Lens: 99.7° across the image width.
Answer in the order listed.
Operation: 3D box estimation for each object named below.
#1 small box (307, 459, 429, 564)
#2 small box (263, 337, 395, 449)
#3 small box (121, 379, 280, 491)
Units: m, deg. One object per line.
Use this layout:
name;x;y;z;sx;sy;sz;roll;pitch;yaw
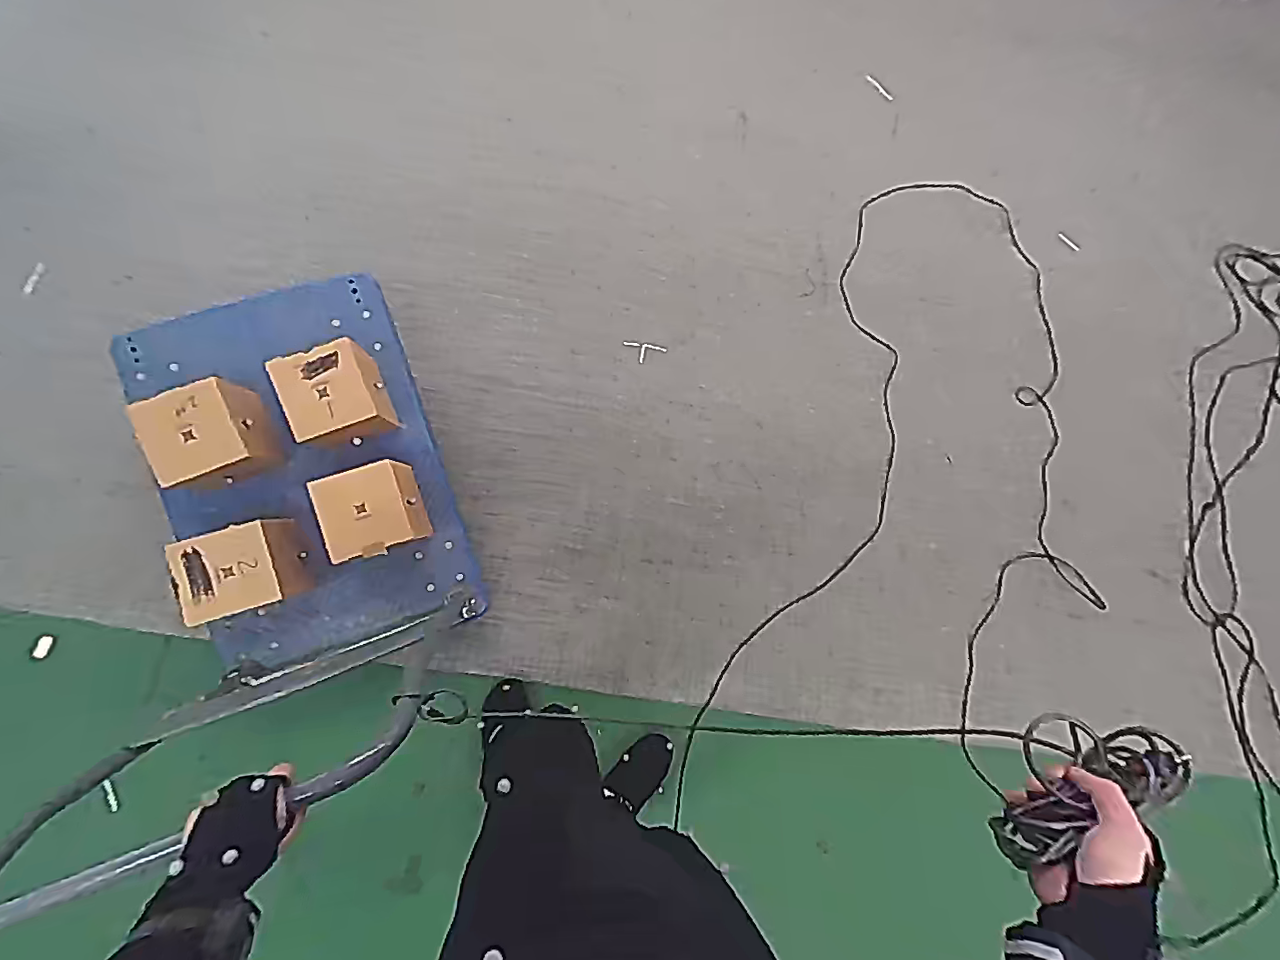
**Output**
small box;-0.577;0.067;1.167;0.168;0.176;0.179;-19;91;-10
small box;-0.658;-0.179;1.164;0.168;0.176;0.179;-22;92;-9
small box;-0.892;-0.086;1.120;0.168;0.176;0.179;-24;91;-11
